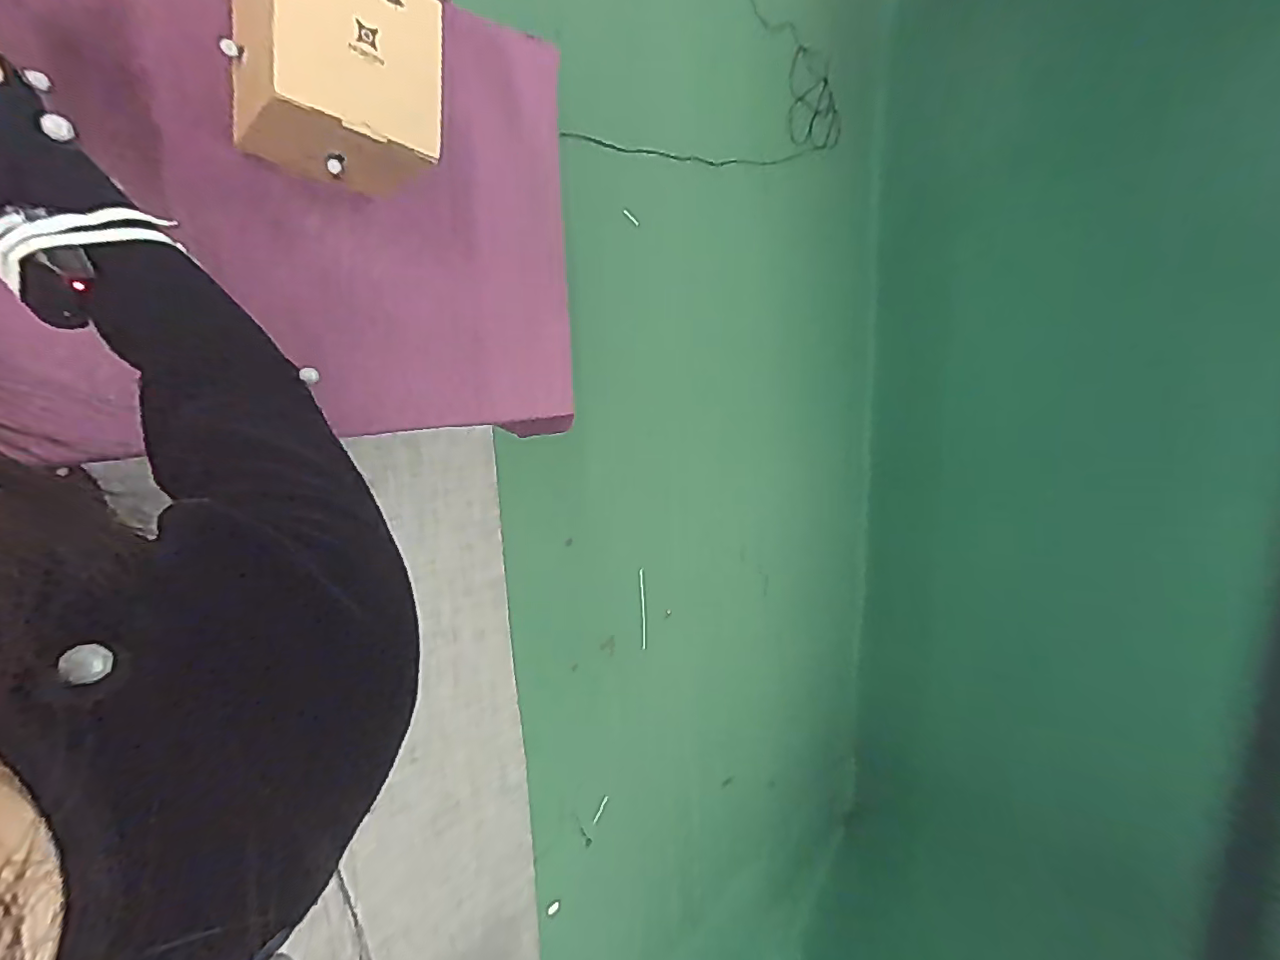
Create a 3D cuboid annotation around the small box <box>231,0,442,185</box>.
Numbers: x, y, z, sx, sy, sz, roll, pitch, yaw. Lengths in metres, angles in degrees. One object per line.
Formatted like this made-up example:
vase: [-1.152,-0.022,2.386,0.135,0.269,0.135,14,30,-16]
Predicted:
small box: [-0.342,-0.463,0.608,0.168,0.176,0.179,-3,99,-47]
